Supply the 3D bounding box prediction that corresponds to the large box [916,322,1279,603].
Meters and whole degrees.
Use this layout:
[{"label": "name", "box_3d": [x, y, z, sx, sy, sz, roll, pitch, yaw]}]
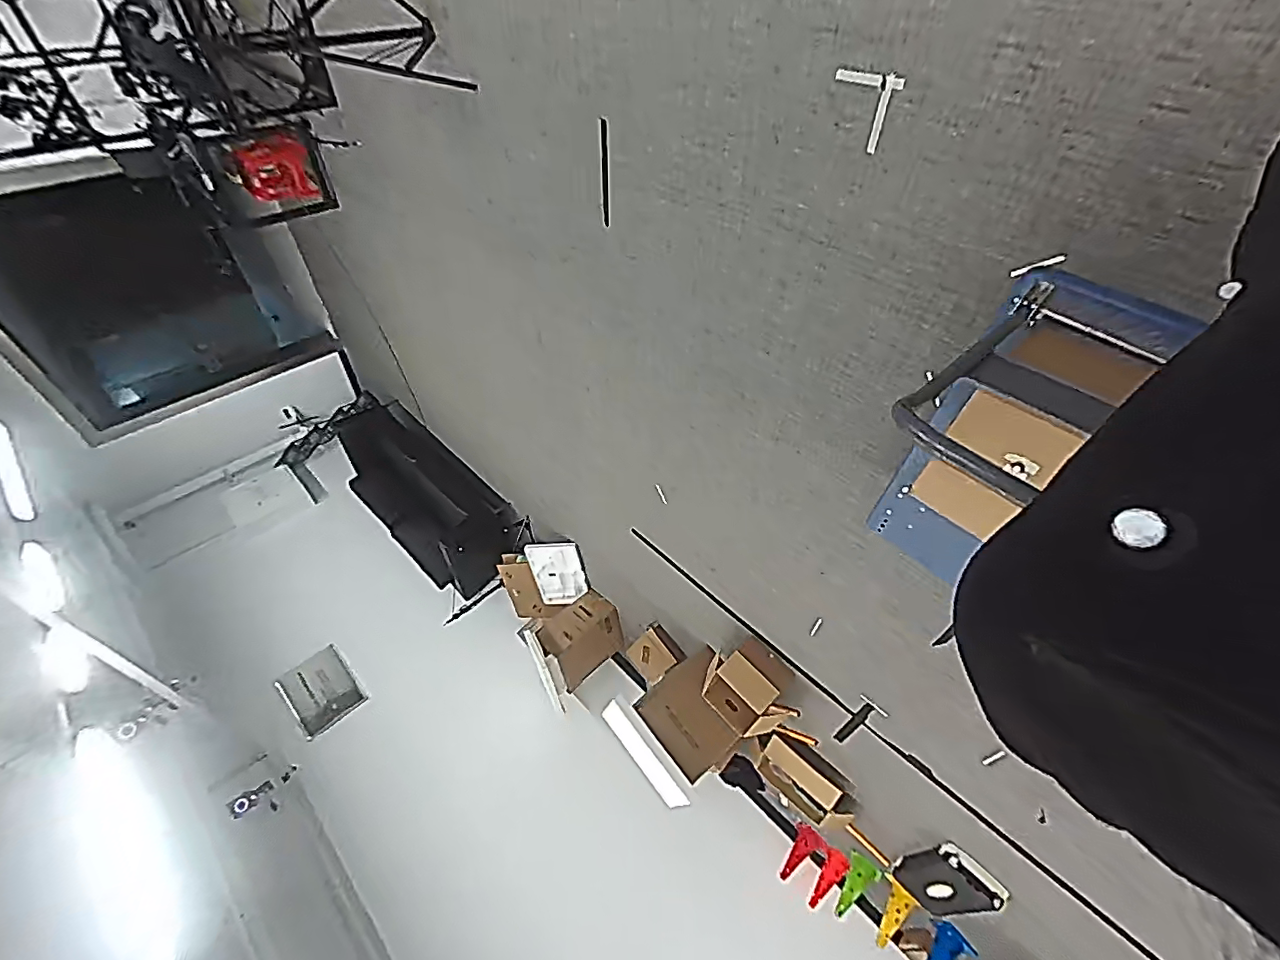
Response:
[{"label": "large box", "box_3d": [0.862, -0.048, 1.066, 0.408, 0.320, 0.320, 40, 146, 27]}]
